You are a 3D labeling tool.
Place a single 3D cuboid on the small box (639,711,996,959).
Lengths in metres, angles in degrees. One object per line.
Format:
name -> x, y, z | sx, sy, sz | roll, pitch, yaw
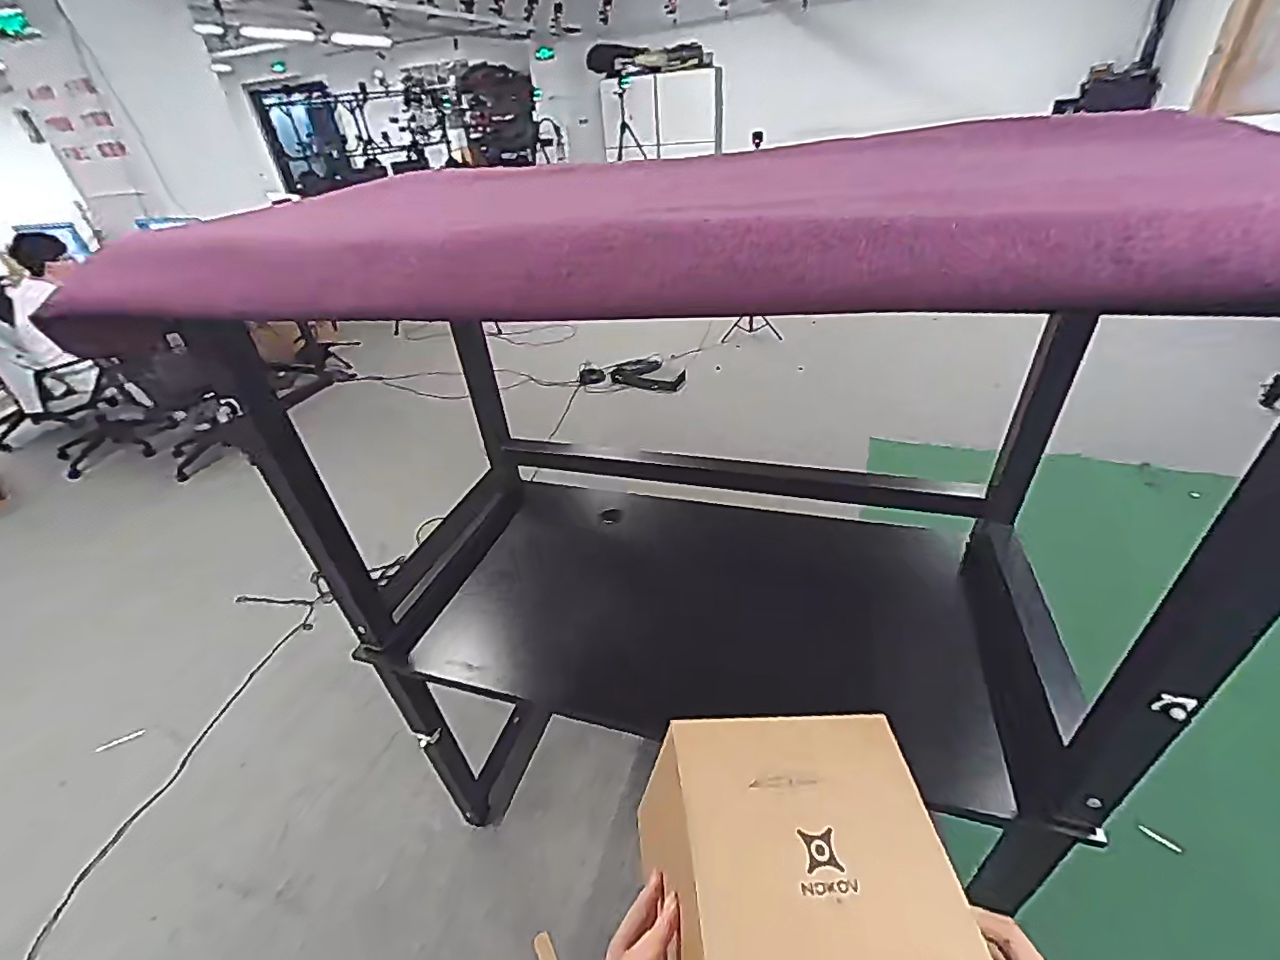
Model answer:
small box -> 0.095, 0.281, 0.368 | 0.168, 0.176, 0.179 | 4, 39, -9
